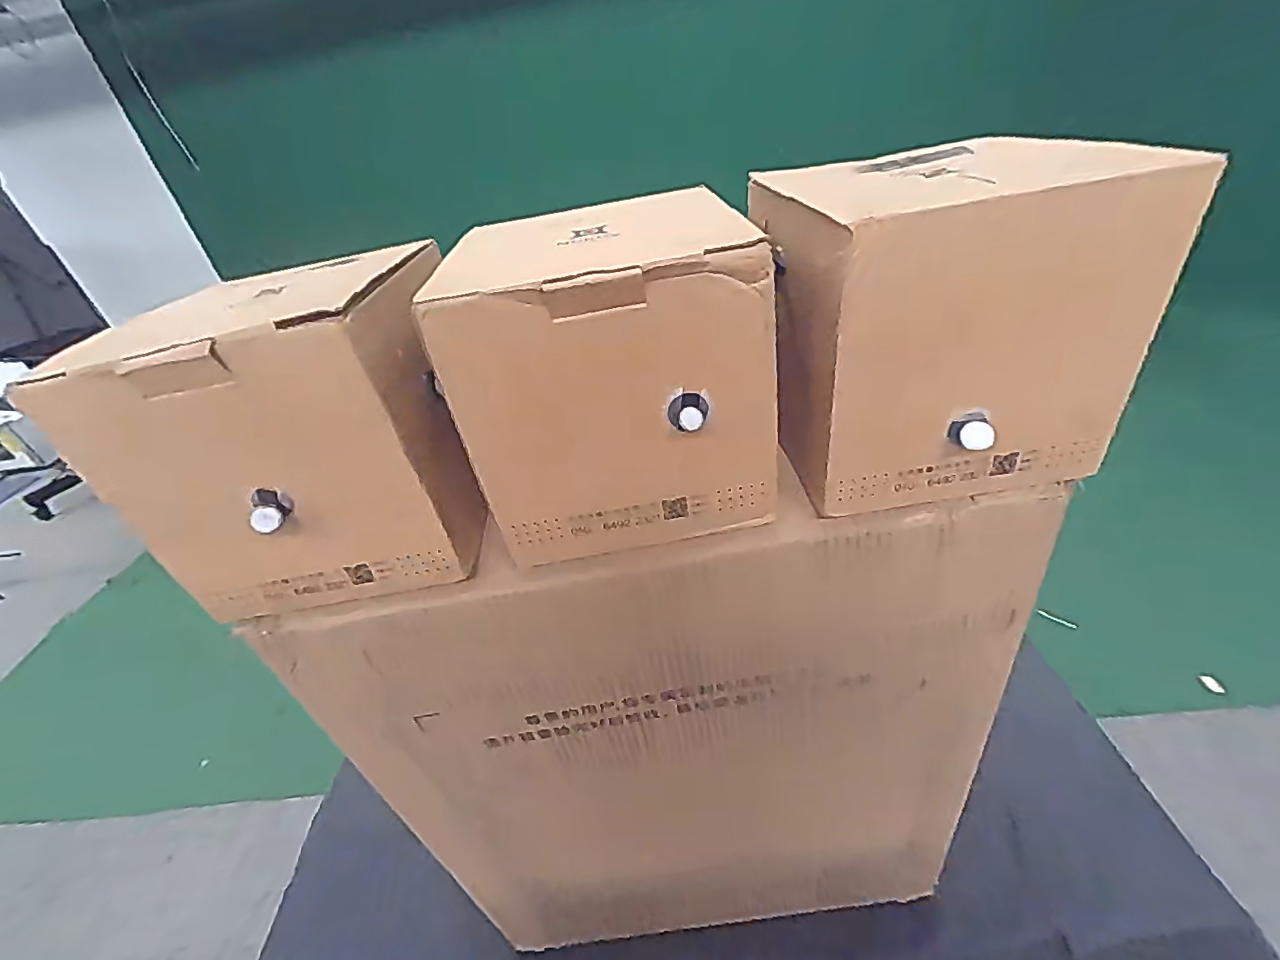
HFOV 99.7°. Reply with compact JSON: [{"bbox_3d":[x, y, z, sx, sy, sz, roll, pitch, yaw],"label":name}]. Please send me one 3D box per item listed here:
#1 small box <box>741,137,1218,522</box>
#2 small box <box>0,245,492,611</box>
[{"bbox_3d":[0.161,-0.098,0.336,0.168,0.176,0.179,-9,36,2],"label":"small box"},{"bbox_3d":[-0.212,-0.032,0.355,0.168,0.176,0.179,-11,35,3],"label":"small box"}]
